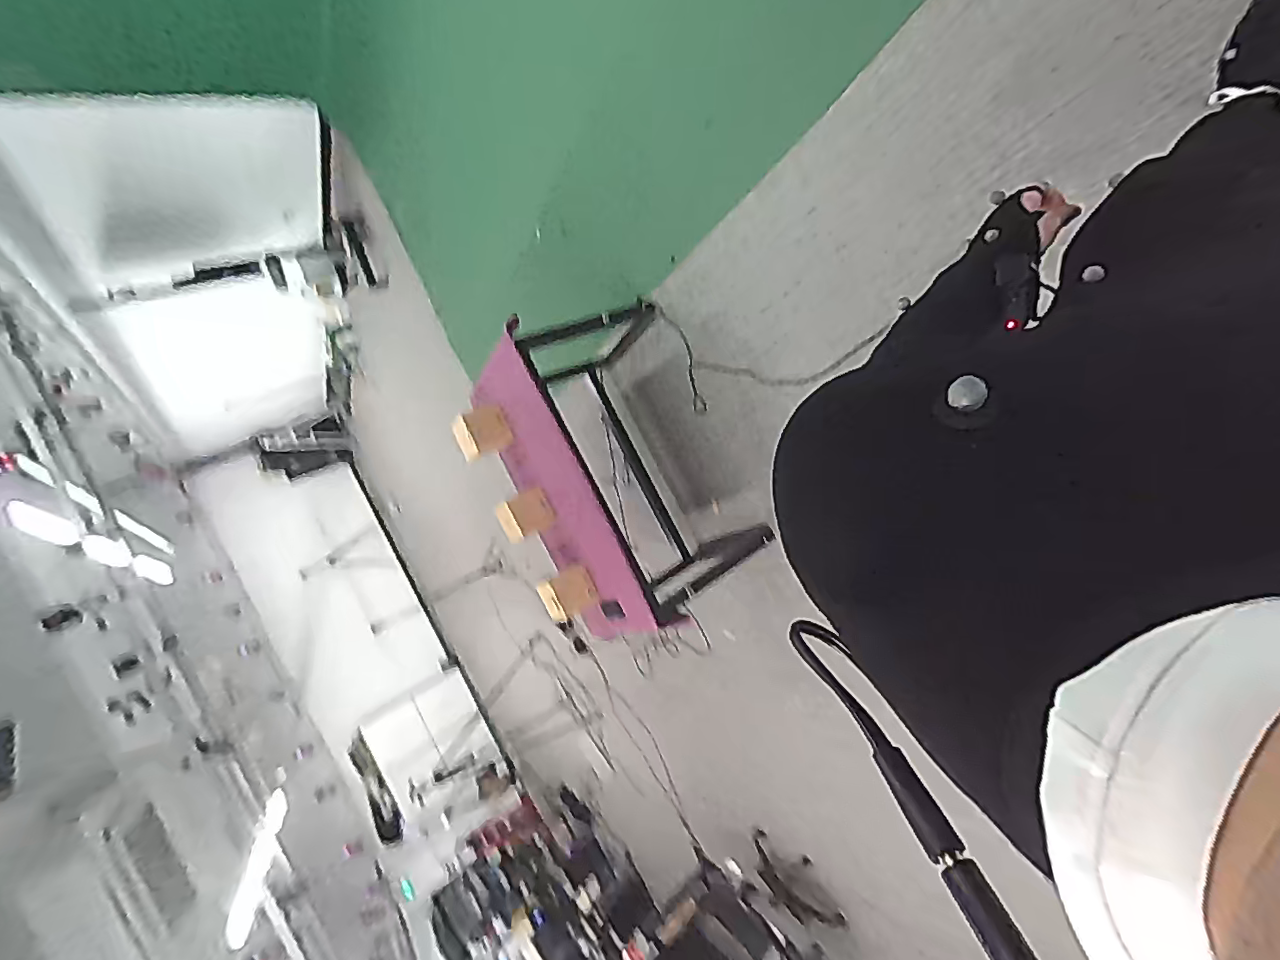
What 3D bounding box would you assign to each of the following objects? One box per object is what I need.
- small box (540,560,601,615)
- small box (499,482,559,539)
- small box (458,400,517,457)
[{"bbox_3d":[-0.286,0.446,2.249,0.179,0.176,0.168,-29,87,58],"label":"small box"},{"bbox_3d":[-0.464,0.128,2.279,0.179,0.176,0.168,-29,89,57],"label":"small box"},{"bbox_3d":[-0.641,-0.218,2.282,0.179,0.176,0.168,-26,92,58],"label":"small box"}]
